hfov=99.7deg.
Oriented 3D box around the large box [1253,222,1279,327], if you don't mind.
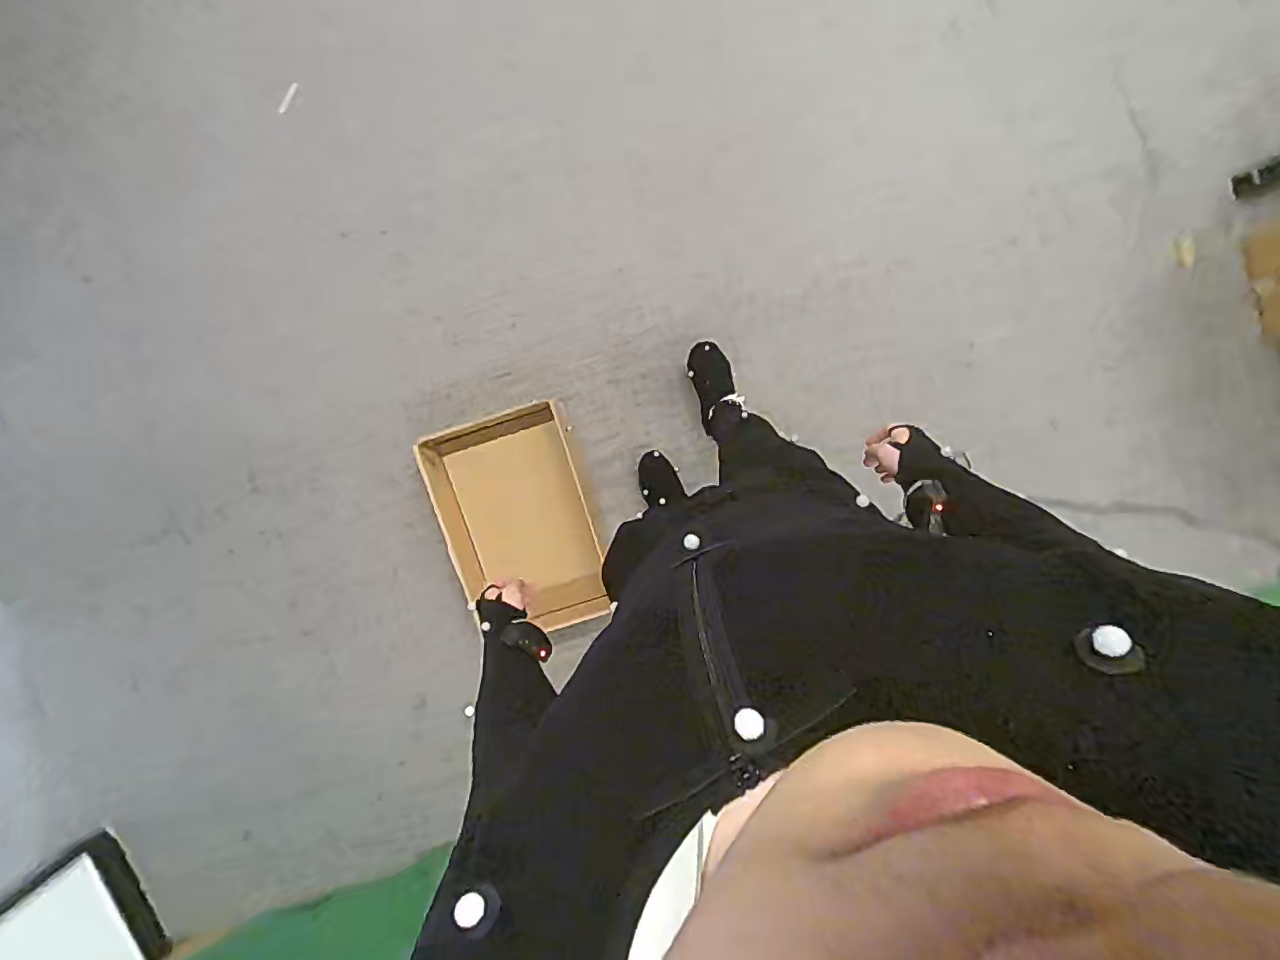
[{"bbox_3d":[1.946,-0.608,1.370,0.408,0.320,0.320,-20,96,2],"label":"large box"}]
